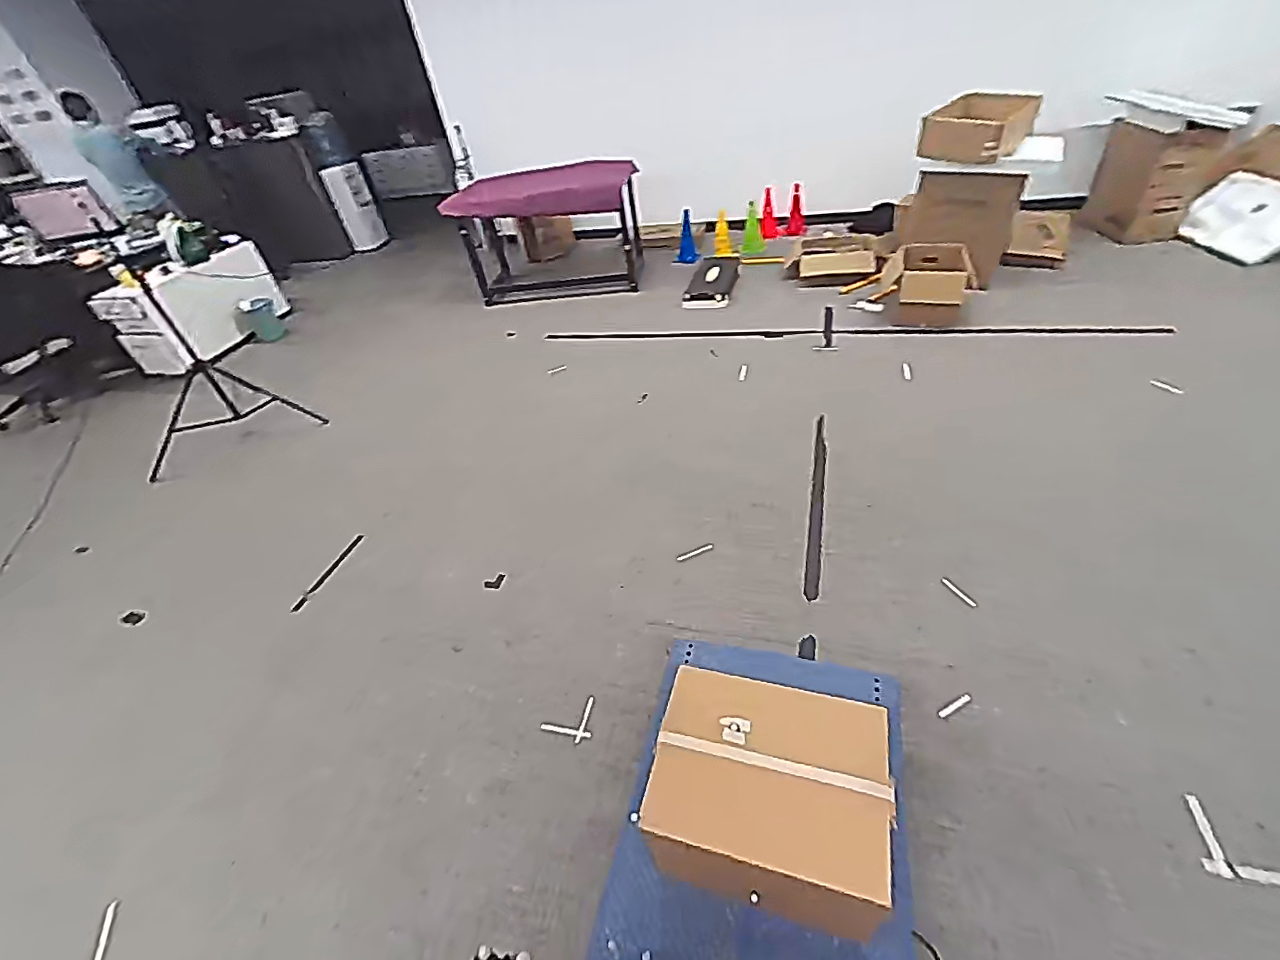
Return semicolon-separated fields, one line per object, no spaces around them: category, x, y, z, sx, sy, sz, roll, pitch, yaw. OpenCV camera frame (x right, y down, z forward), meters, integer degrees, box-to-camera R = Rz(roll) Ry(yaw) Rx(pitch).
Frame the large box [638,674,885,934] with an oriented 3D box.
large box;0.250;0.635;1.081;0.408;0.320;0.320;4;42;19
